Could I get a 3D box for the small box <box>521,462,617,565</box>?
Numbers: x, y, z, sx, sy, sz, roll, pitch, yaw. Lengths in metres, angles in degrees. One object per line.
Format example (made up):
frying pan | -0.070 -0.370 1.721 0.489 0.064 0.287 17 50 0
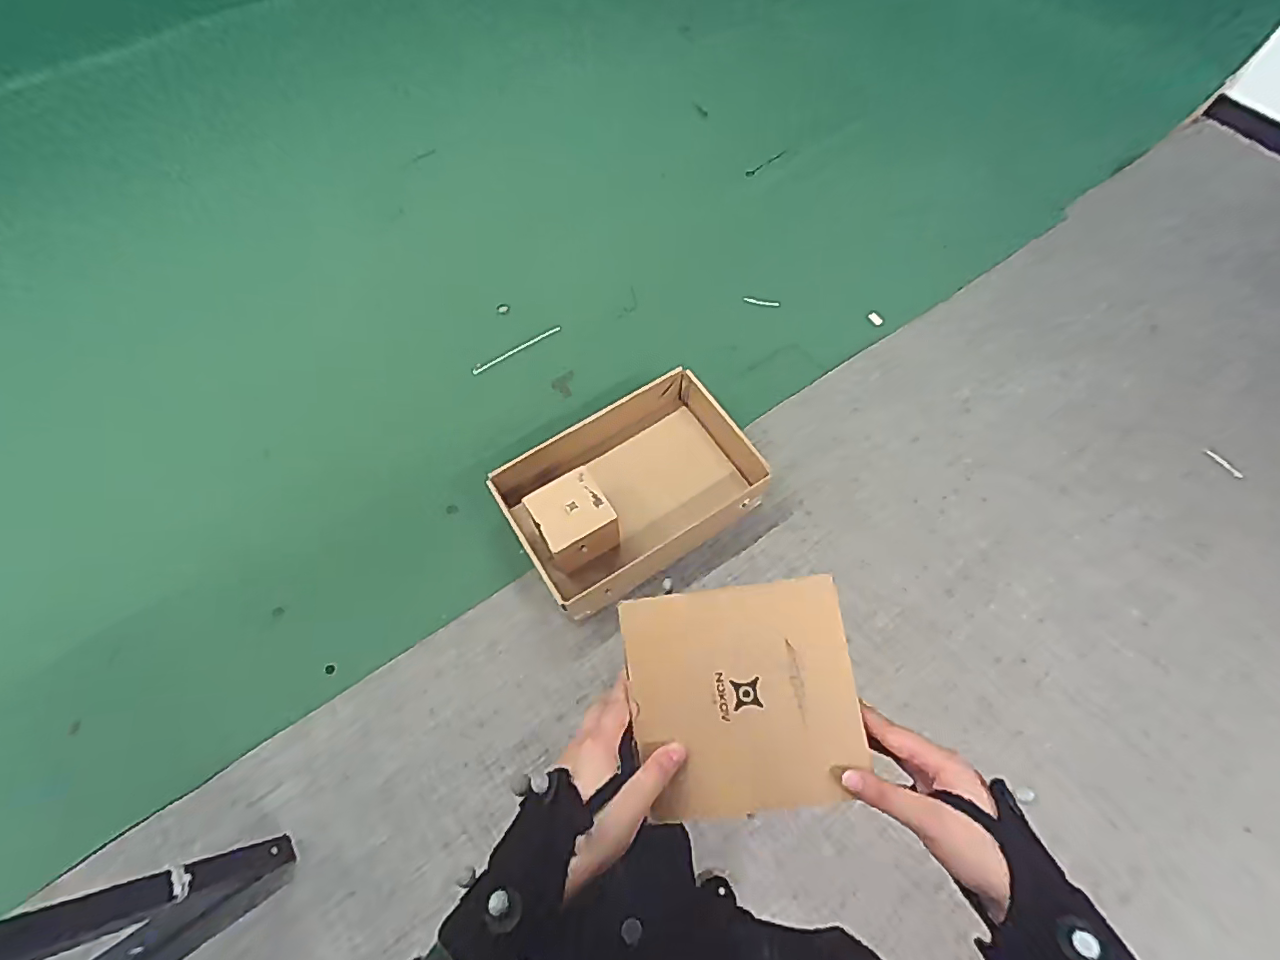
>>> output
small box | -0.169 0.090 1.348 0.179 0.176 0.168 -30 70 -12
